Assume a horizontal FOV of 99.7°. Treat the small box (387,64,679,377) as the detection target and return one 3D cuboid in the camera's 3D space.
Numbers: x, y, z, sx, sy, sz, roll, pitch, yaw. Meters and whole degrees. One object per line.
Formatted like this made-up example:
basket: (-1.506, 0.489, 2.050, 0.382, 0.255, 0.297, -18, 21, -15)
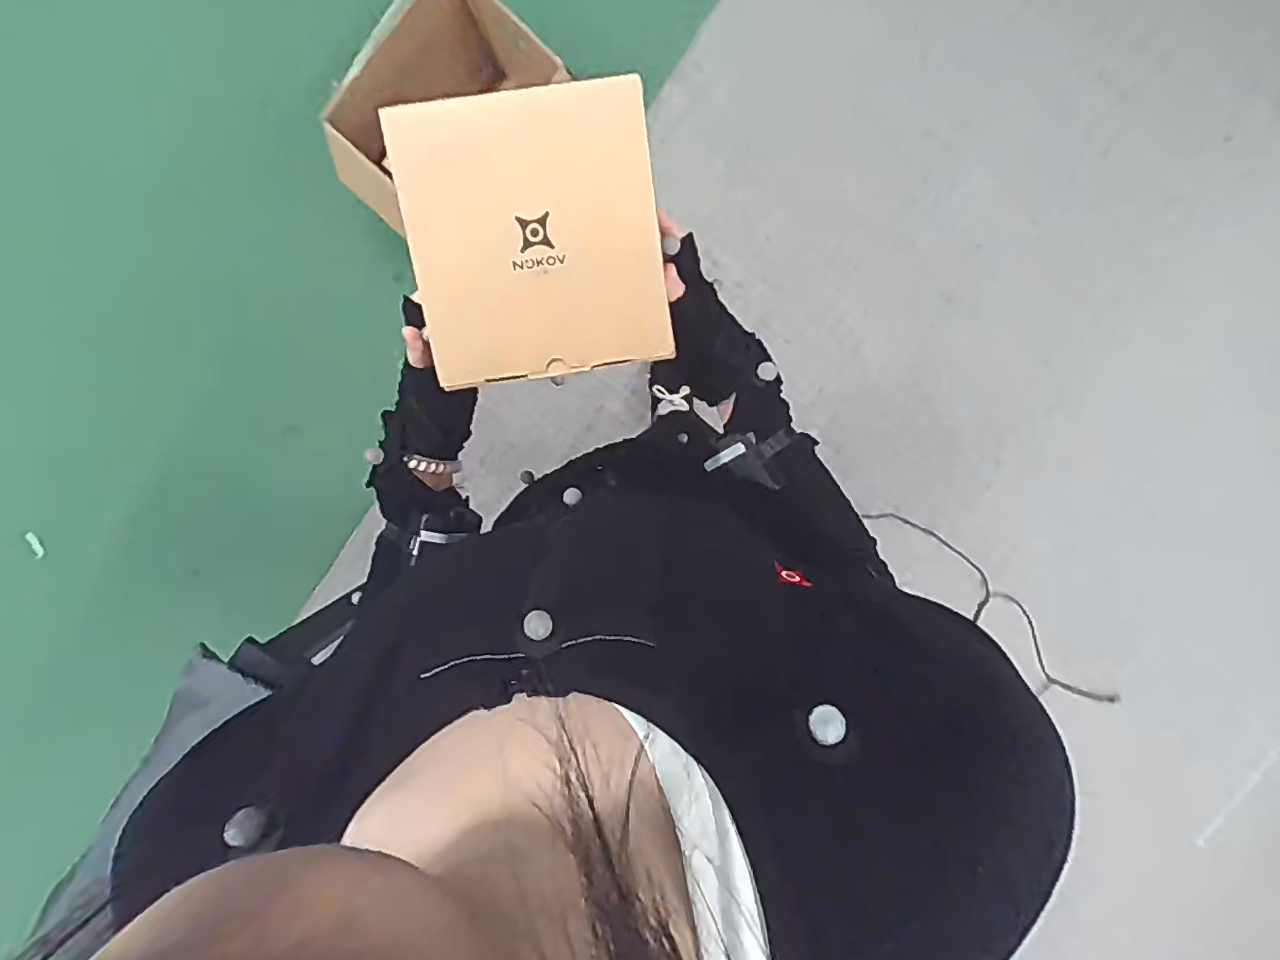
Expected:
small box: (-0.070, -0.182, 0.431, 0.168, 0.176, 0.179, -10, 104, -1)
